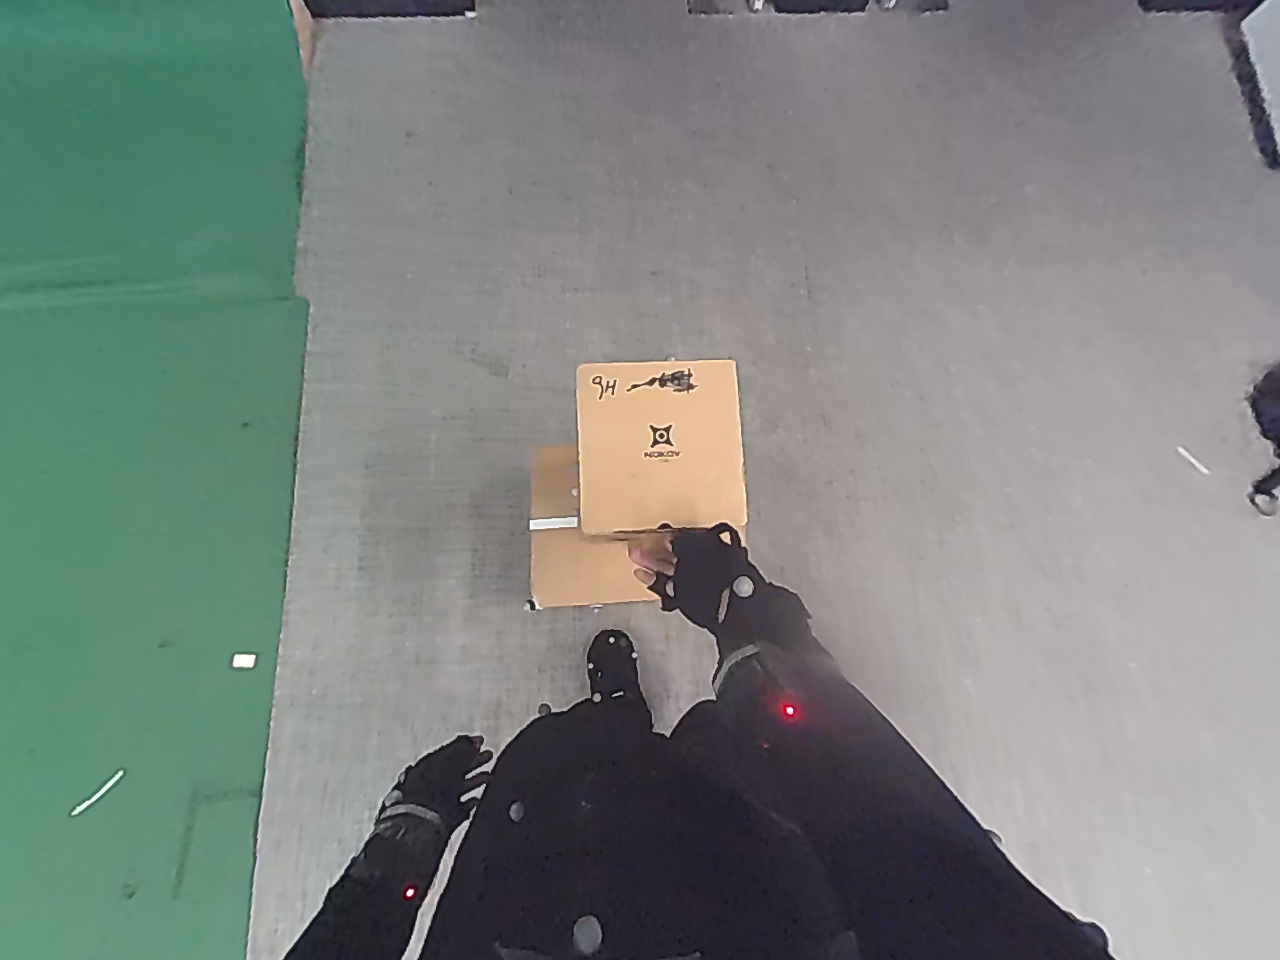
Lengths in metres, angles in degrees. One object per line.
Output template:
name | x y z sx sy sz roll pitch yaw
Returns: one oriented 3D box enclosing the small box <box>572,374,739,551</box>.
small box | 0.013 -0.011 0.626 0.168 0.176 0.179 -3 83 -3
